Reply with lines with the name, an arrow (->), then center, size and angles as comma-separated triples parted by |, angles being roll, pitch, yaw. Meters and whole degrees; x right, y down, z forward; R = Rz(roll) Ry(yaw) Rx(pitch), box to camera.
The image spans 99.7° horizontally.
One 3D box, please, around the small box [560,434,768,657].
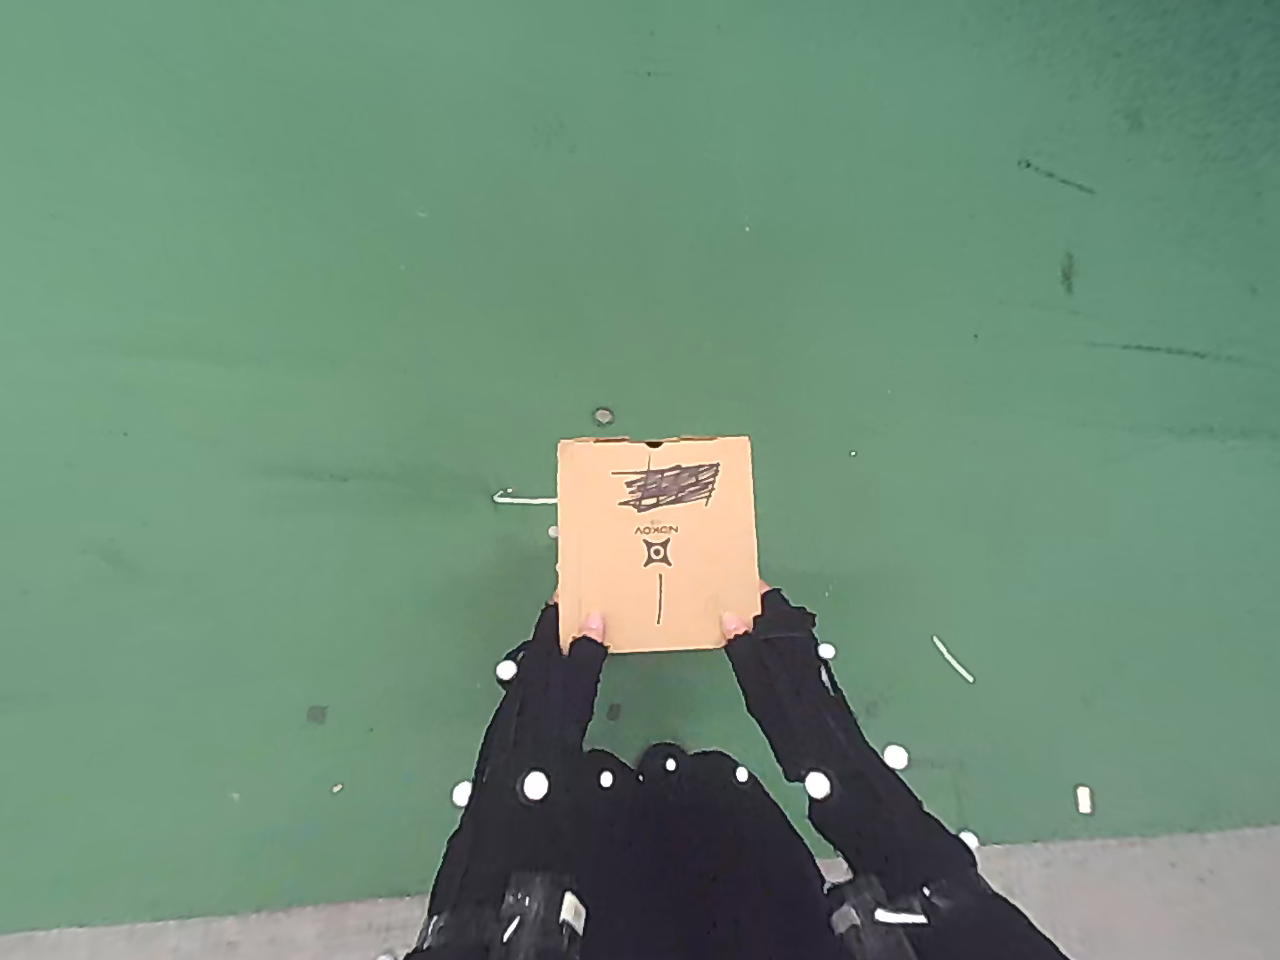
small box -> 0.013, 0.062, 0.509 | 0.168, 0.176, 0.179 | -2, 82, -3
